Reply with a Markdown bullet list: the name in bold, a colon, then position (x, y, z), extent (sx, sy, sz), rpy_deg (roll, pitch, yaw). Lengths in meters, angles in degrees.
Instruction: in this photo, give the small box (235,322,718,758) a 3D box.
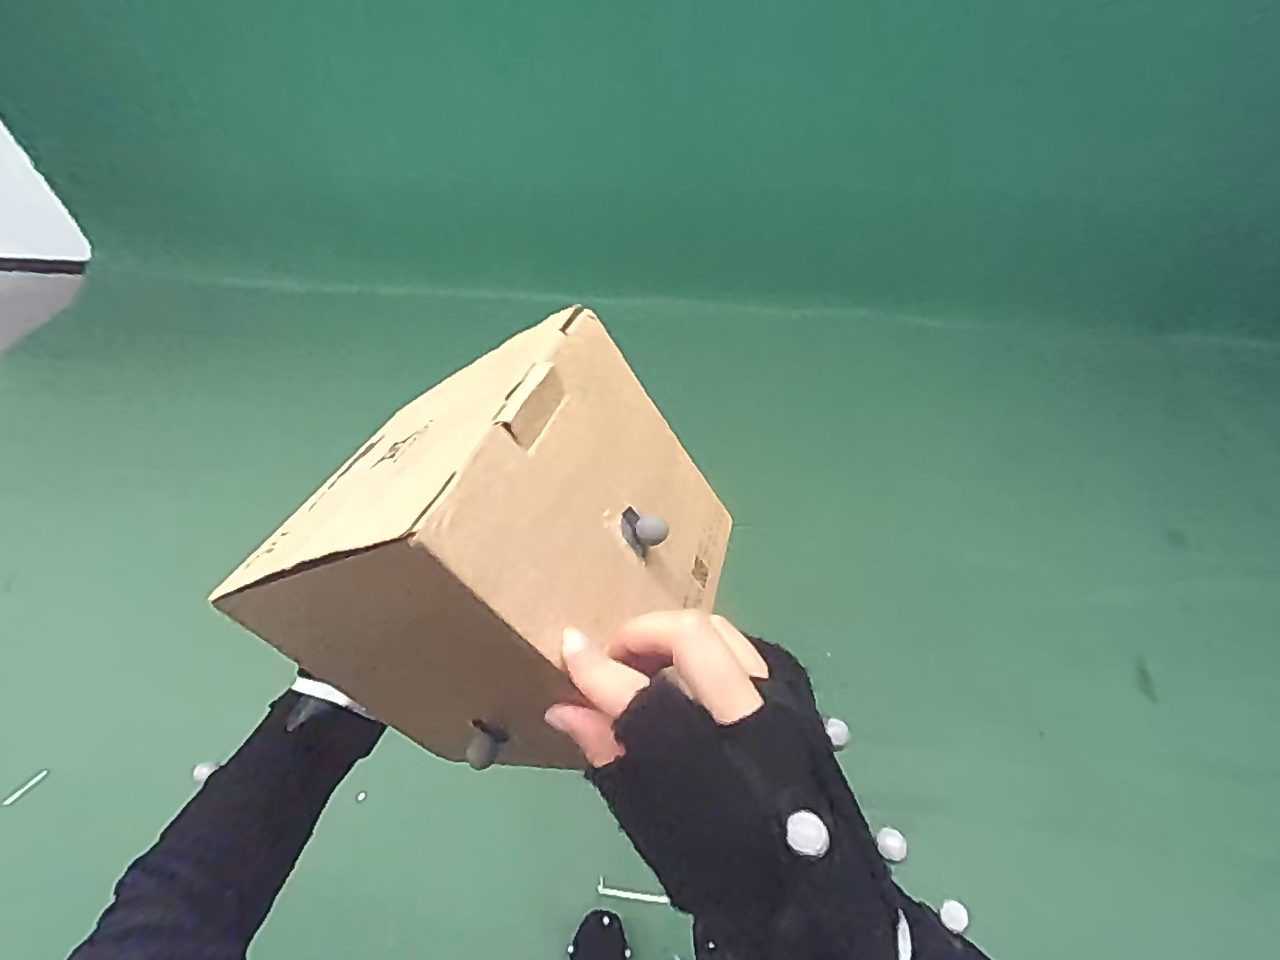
- **small box**: position (-0.073, 0.044, 0.321), extent (0.179, 0.176, 0.168), rpy_deg (-16, 34, 33)
